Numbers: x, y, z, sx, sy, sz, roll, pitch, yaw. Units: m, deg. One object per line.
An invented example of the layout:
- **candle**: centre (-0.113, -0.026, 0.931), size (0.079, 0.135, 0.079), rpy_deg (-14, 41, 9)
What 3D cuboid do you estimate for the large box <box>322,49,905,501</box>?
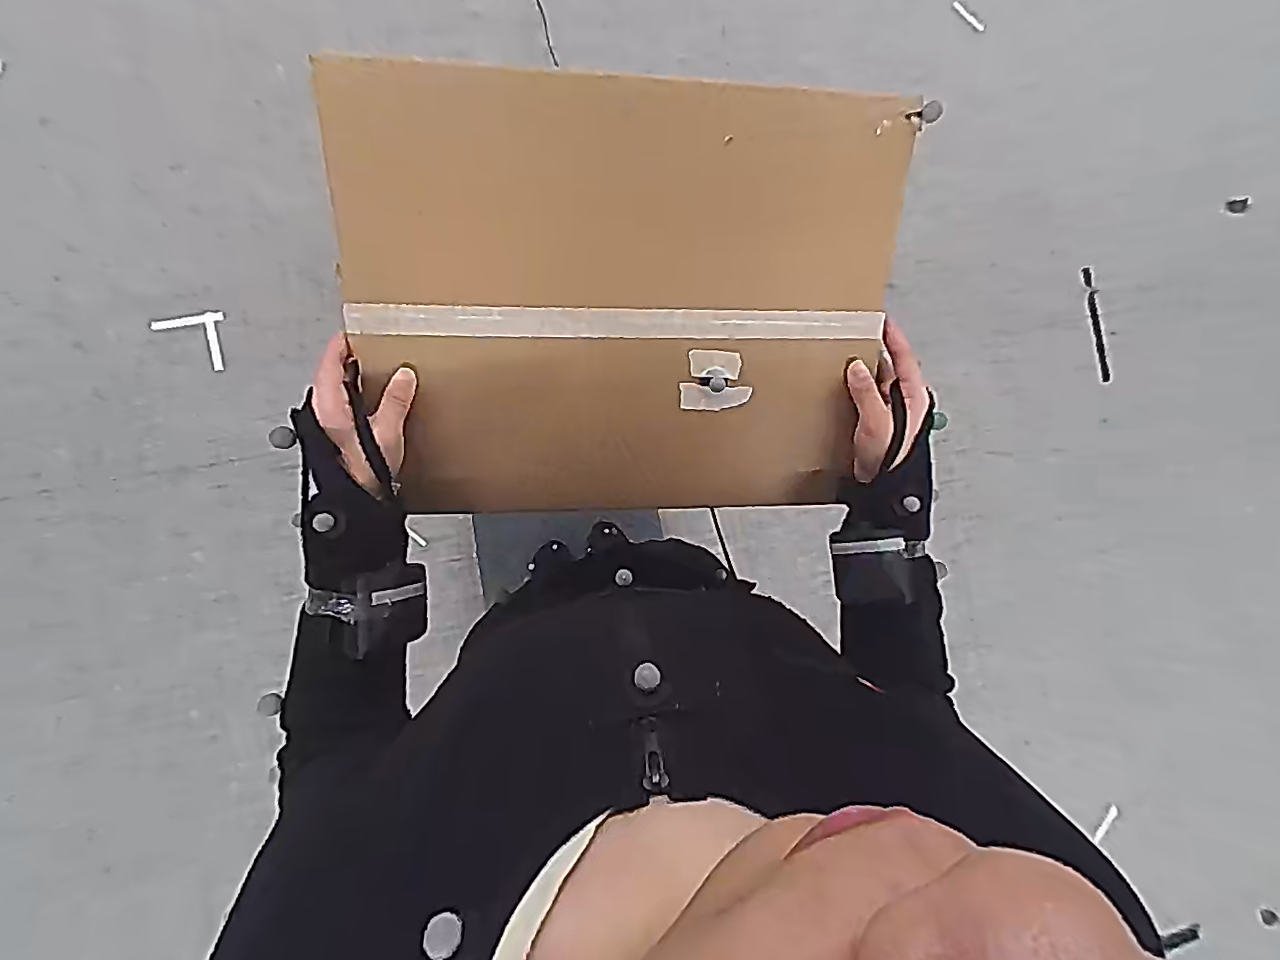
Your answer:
- **large box**: centre (-0.028, -0.185, 0.552), size (0.408, 0.320, 0.320), rpy_deg (-1, 112, -8)
